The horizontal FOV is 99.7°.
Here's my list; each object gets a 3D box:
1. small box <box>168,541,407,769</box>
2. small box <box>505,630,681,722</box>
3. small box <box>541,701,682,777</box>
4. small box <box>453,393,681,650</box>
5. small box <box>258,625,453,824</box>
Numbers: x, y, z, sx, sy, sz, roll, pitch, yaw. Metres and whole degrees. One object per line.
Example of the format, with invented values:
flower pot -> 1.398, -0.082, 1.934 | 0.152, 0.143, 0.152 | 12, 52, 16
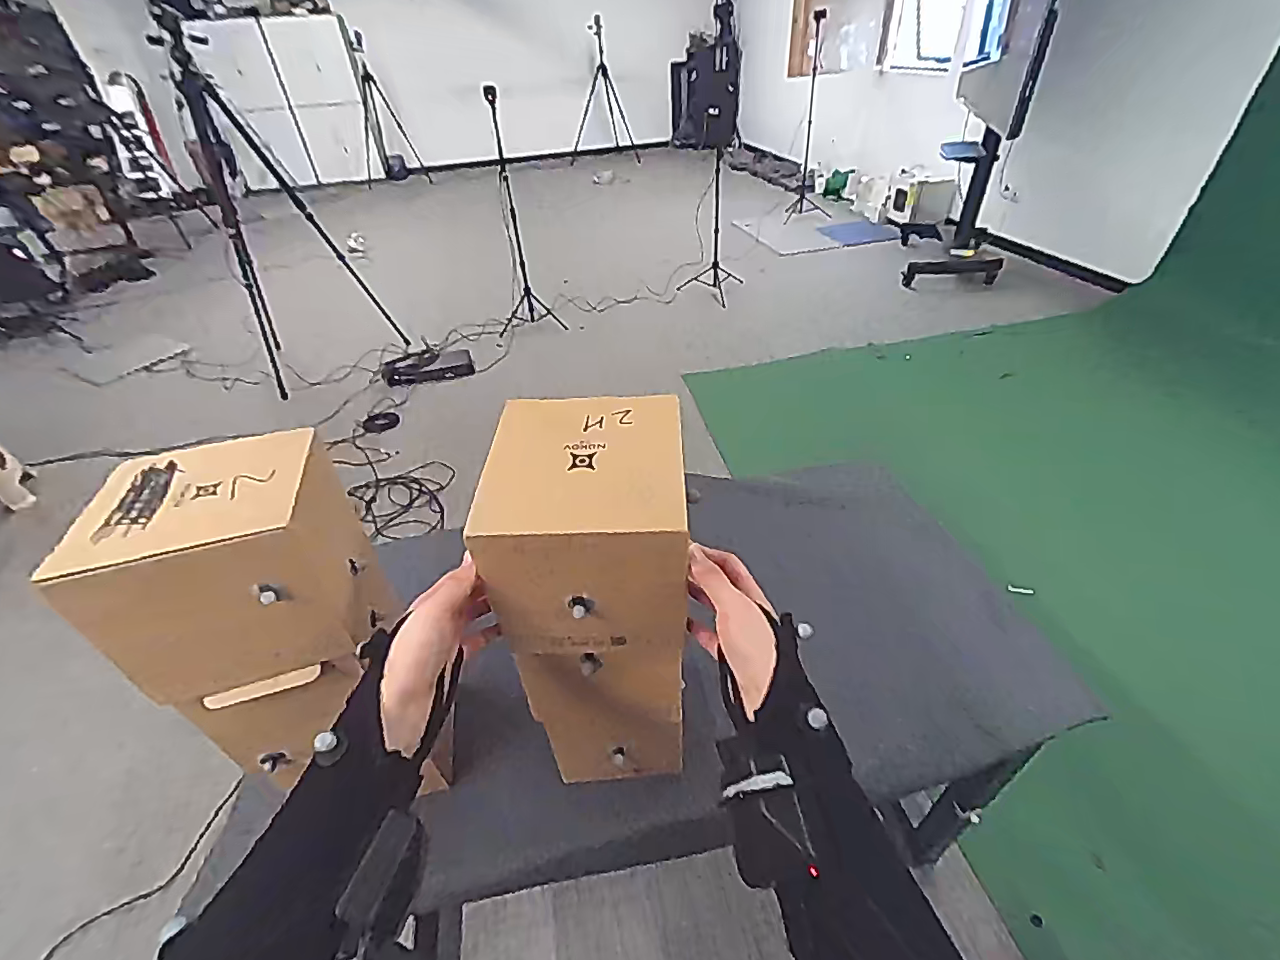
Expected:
small box -> -0.384, 0.206, 0.631 | 0.168, 0.176, 0.179 | -14, 38, -12
small box -> -0.040, 0.168, 0.641 | 0.179, 0.176, 0.168 | -3, 39, 4
small box -> -0.034, 0.290, 0.750 | 0.168, 0.176, 0.179 | -6, 39, 0
small box -> -0.048, 0.041, 0.496 | 0.168, 0.176, 0.179 | -2, 43, 2
small box -> -0.364, 0.331, 0.737 | 0.179, 0.176, 0.168 | -12, 38, -8
